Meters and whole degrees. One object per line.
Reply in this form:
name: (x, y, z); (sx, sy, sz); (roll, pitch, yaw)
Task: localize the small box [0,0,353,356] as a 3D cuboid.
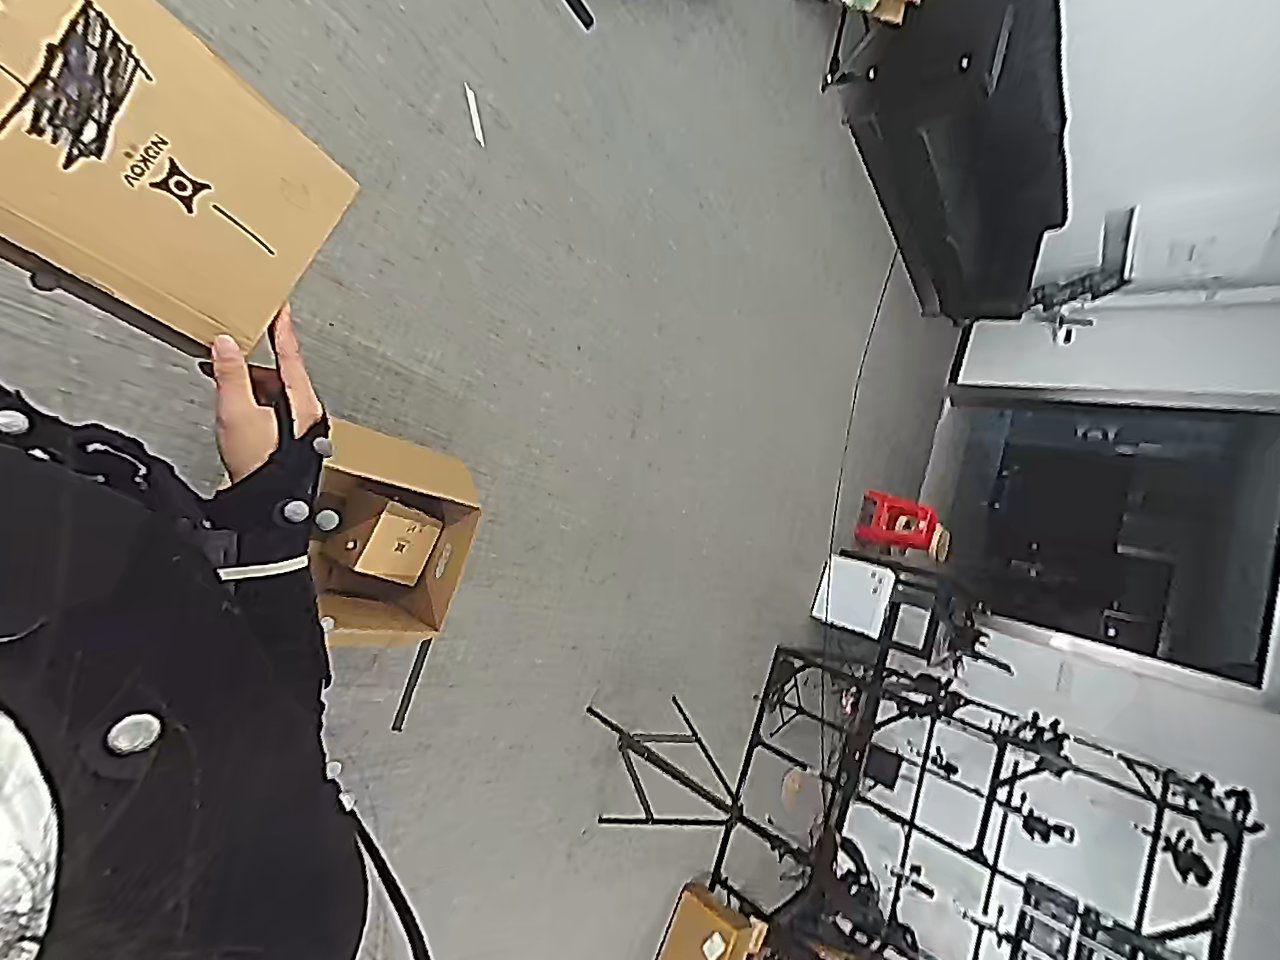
small box: (-0.358, -0.206, 0.387); (0.179, 0.176, 0.168); (39, 72, -48)
